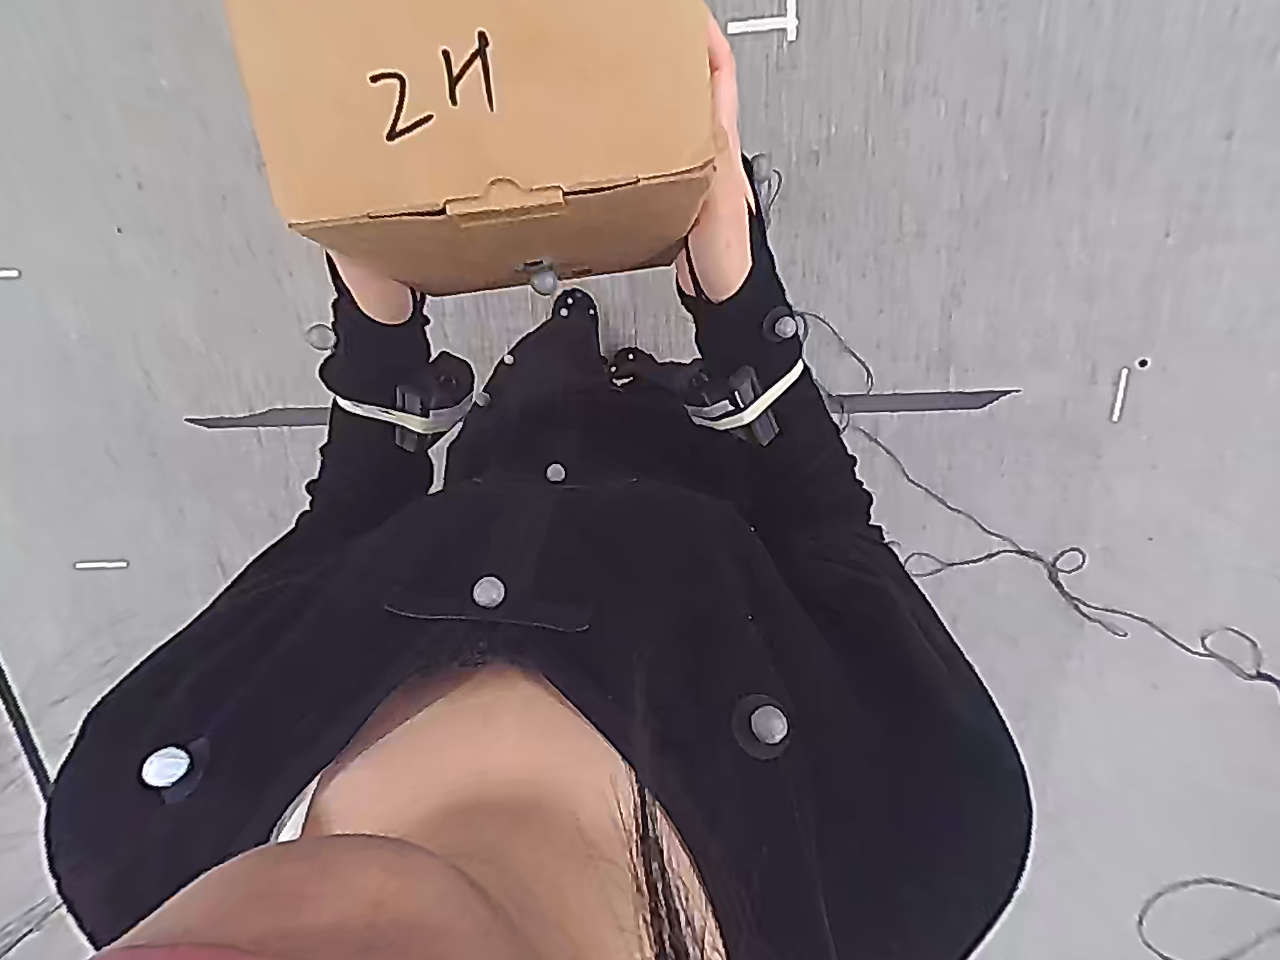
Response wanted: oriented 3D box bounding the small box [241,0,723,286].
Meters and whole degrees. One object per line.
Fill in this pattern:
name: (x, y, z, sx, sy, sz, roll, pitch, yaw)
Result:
small box: (-0.064, -0.208, 0.265, 0.168, 0.176, 0.179, -8, 101, -1)
